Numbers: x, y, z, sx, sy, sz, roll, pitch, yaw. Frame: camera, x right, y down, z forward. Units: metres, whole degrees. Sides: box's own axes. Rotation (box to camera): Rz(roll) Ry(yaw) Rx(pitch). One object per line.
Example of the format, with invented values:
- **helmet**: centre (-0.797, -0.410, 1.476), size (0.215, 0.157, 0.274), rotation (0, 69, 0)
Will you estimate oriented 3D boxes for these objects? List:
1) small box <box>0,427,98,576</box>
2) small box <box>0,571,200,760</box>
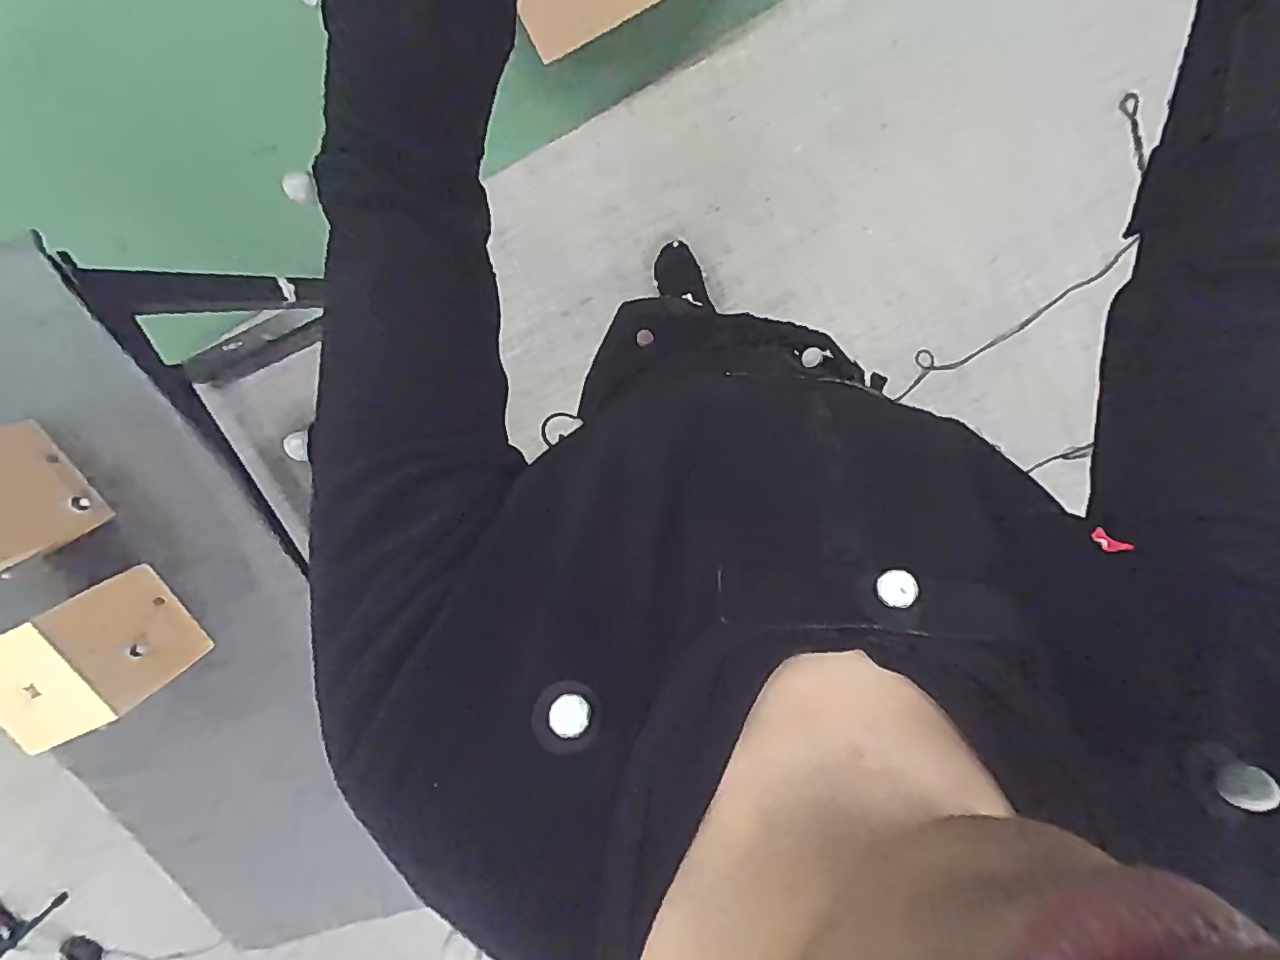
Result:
- **small box**: centre (-0.893, 0.047, 0.716), size (0.179, 0.176, 0.168), rotation (-24, 105, 12)
- **small box**: centre (-0.796, 0.258, 0.783), size (0.179, 0.176, 0.168), rotation (-24, 105, 12)
